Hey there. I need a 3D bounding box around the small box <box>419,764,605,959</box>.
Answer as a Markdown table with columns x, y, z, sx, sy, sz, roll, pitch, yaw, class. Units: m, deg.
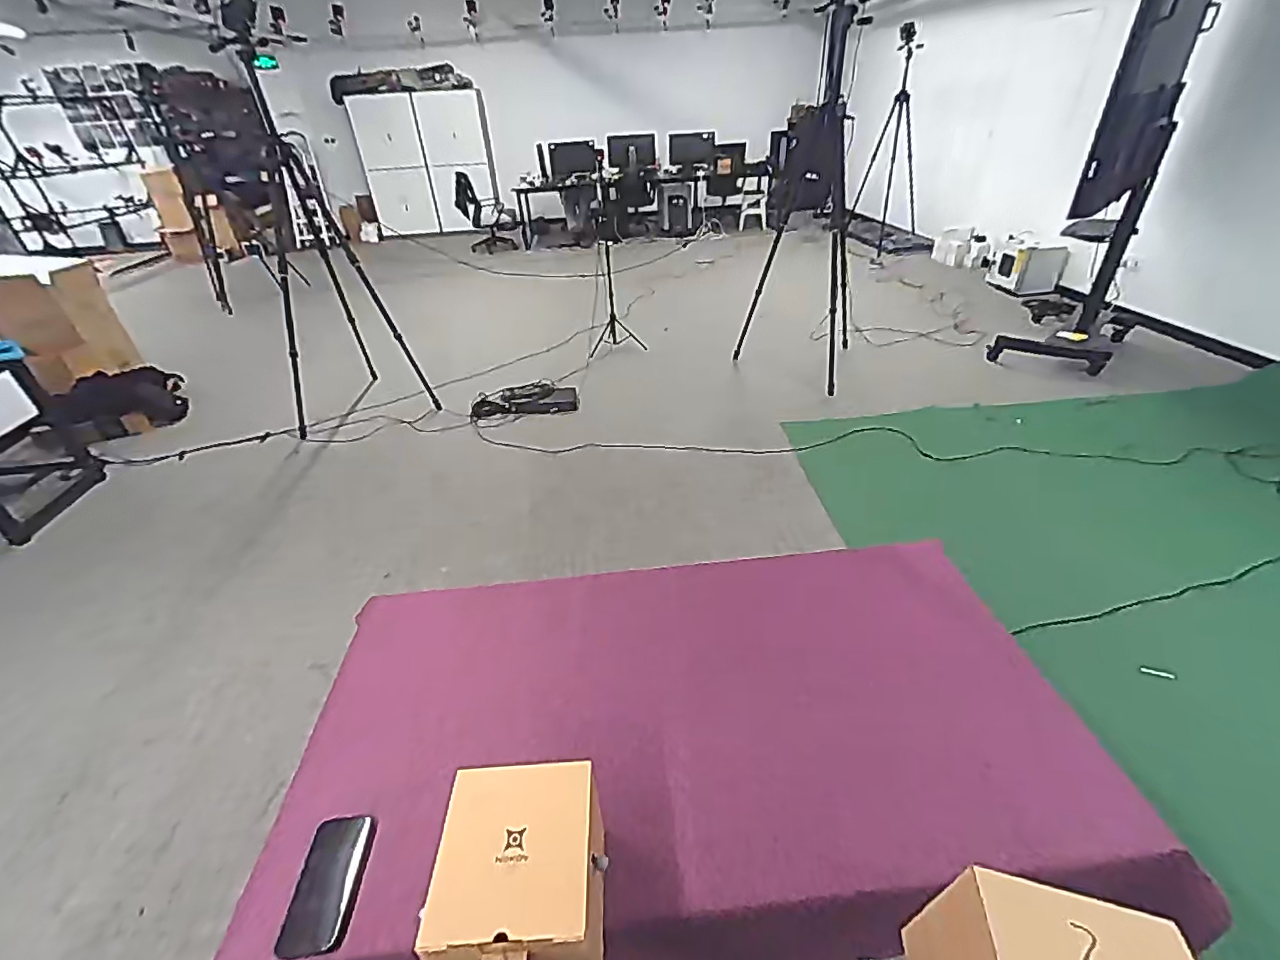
| x | y | z | sx | sy | sz | roll | pitch | yaw | class |
| --- | --- | --- | --- | --- | --- | --- | --- | --- | --- |
| -0.131 | 0.462 | 0.628 | 0.168 | 0.176 | 0.179 | -3 | 34 | 0 | small box |
